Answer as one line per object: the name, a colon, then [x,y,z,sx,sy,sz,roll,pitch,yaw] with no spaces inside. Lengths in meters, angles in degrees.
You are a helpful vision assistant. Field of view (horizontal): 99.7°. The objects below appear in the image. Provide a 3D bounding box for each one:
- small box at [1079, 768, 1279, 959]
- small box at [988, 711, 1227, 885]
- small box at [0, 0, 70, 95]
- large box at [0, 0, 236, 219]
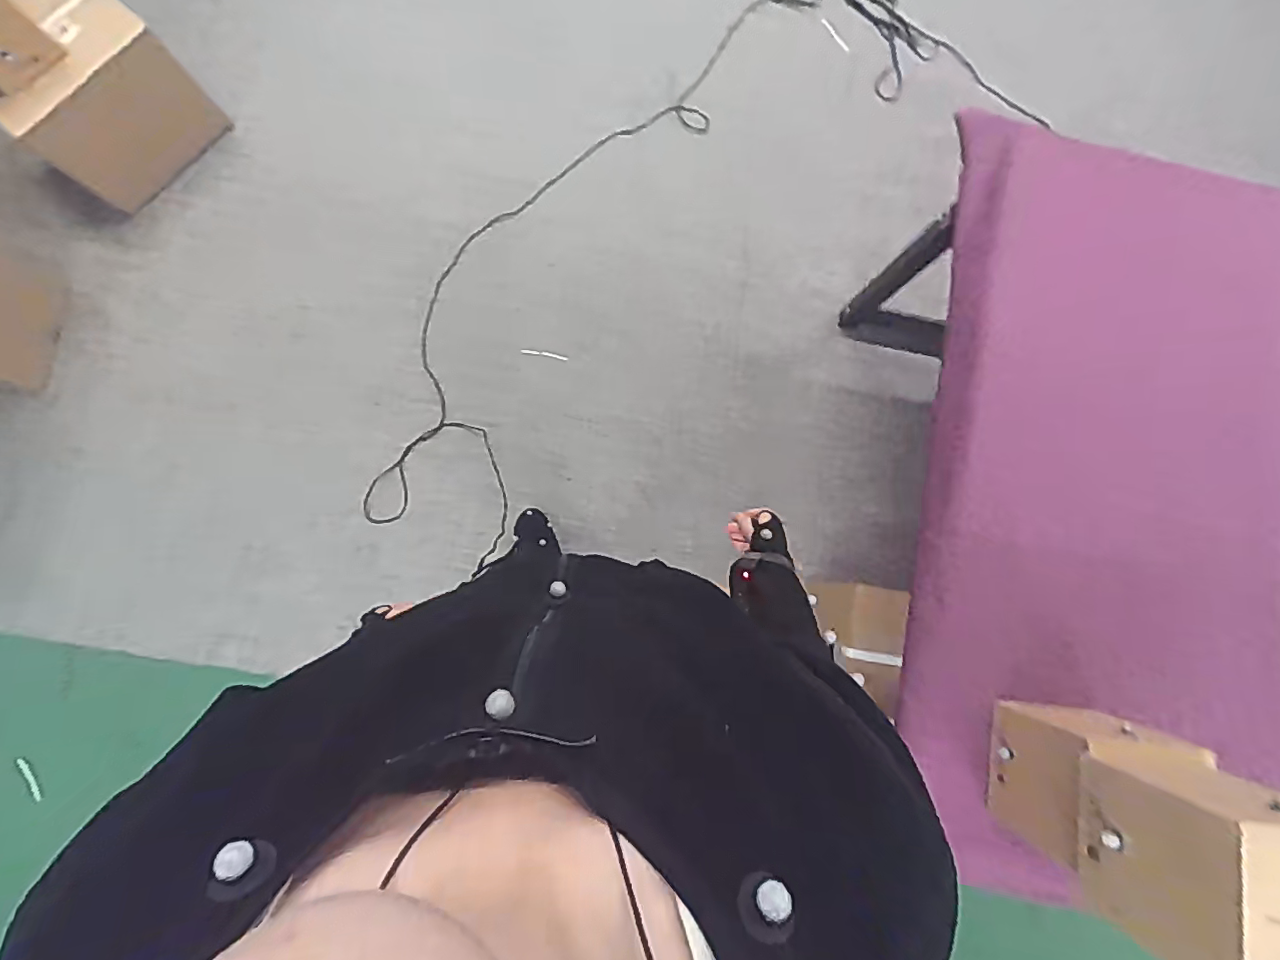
small box: [0.609,0.419,0.557,0.179,0.176,0.168,9,82,-4]
small box: [0.611,0.423,0.722,0.179,0.176,0.168,9,82,-4]
small box: [-1.427,-0.994,1.167,0.179,0.176,0.168,45,83,2]
large box: [-1.408,-0.994,1.414,0.320,0.320,0.408,41,82,1]
